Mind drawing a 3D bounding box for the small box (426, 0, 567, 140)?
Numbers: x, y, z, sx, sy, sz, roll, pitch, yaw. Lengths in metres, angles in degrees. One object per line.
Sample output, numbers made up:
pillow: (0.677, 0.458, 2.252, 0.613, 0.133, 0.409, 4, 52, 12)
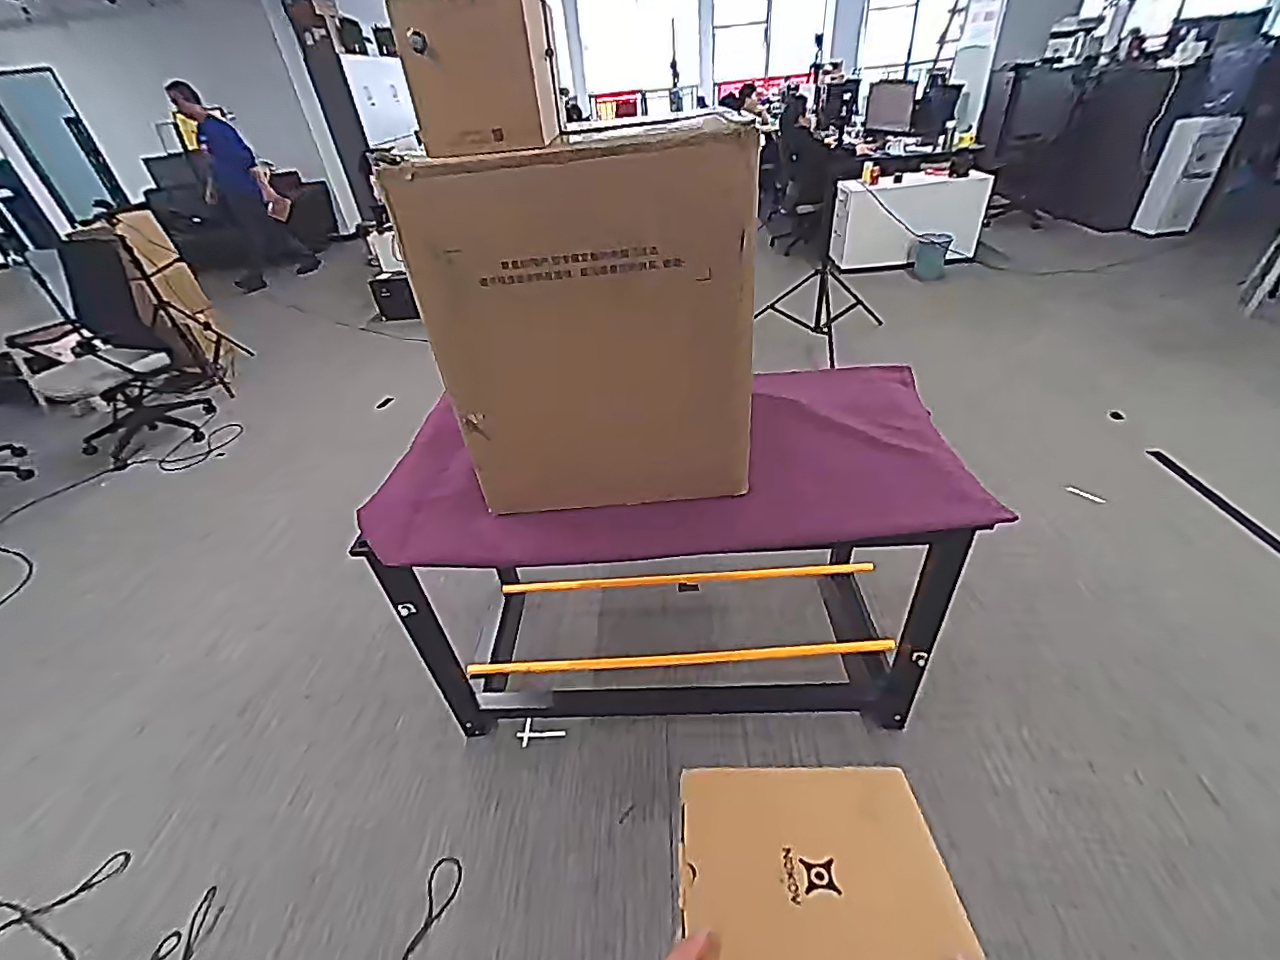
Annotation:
small box: (-0.224, -0.671, 0.893, 0.179, 0.176, 0.168, -5, 37, 0)

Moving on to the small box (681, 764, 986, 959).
small box: (0.120, 0.333, 0.384, 0.179, 0.176, 0.168, -4, 21, 6)
